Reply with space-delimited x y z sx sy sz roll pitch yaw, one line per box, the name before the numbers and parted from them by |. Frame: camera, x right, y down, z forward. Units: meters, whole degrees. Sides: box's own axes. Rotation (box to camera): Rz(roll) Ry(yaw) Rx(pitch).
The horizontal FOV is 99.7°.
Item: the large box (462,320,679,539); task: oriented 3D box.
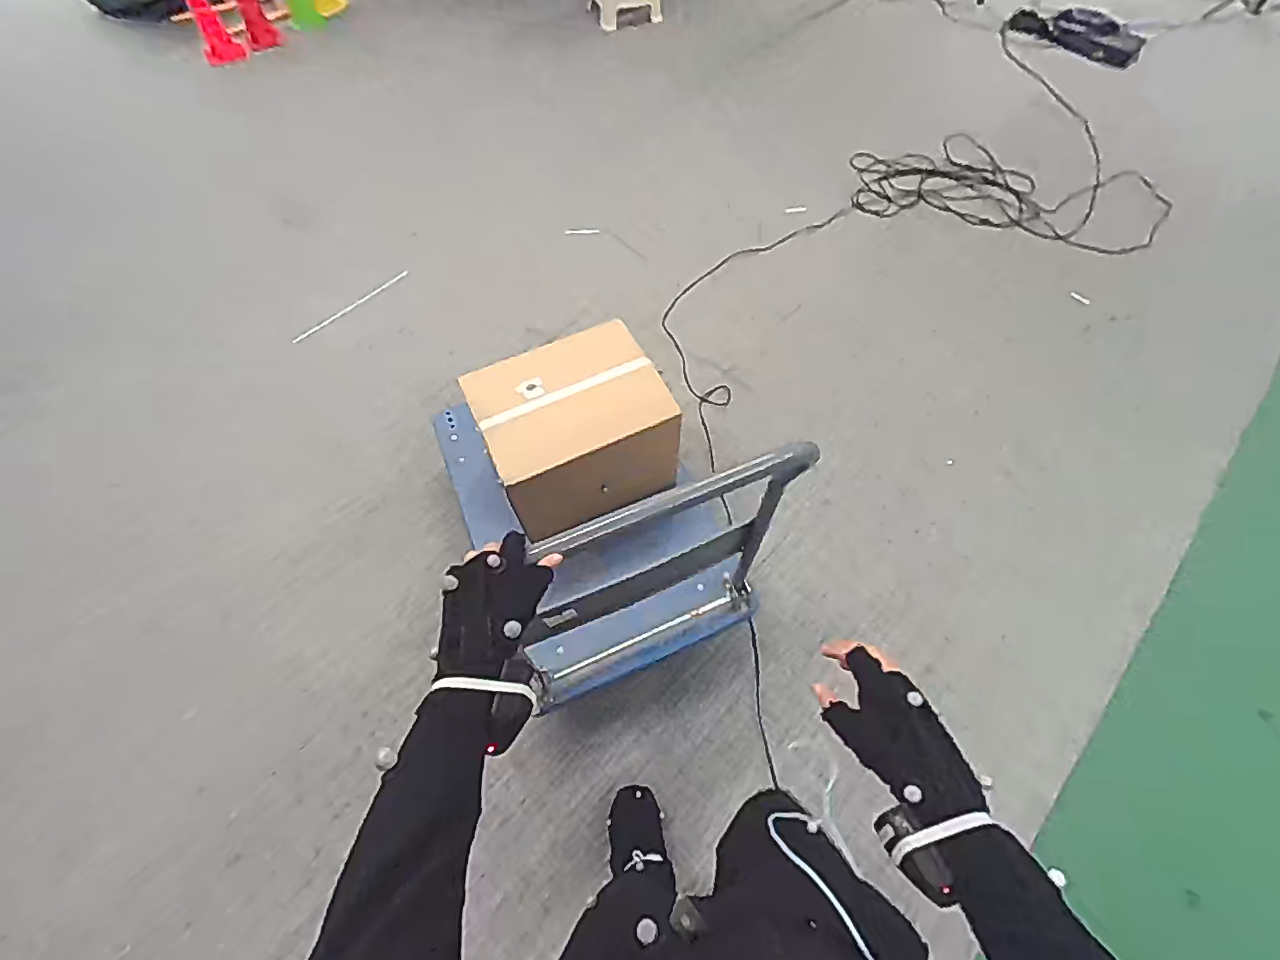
large box | -0.154 -0.115 1.318 0.408 0.320 0.320 -24 64 -11
